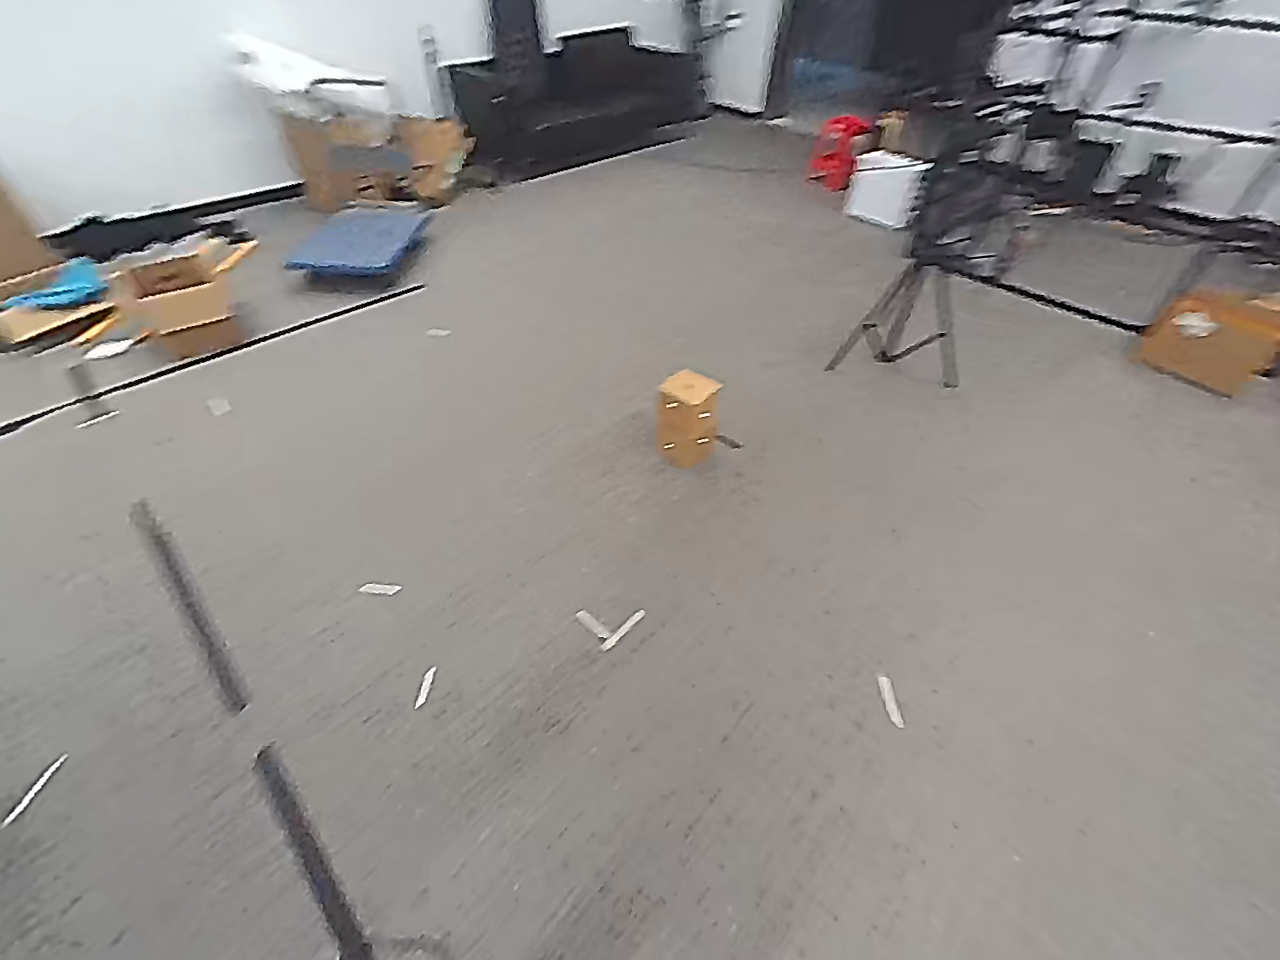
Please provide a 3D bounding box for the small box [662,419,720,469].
[{"bbox_3d":[0.203,-0.174,2.191,0.179,0.176,0.168,-32,55,-30],"label":"small box"}]

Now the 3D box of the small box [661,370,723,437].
[{"bbox_3d":[0.196,-0.287,2.074,0.179,0.176,0.168,30,52,26],"label":"small box"}]
